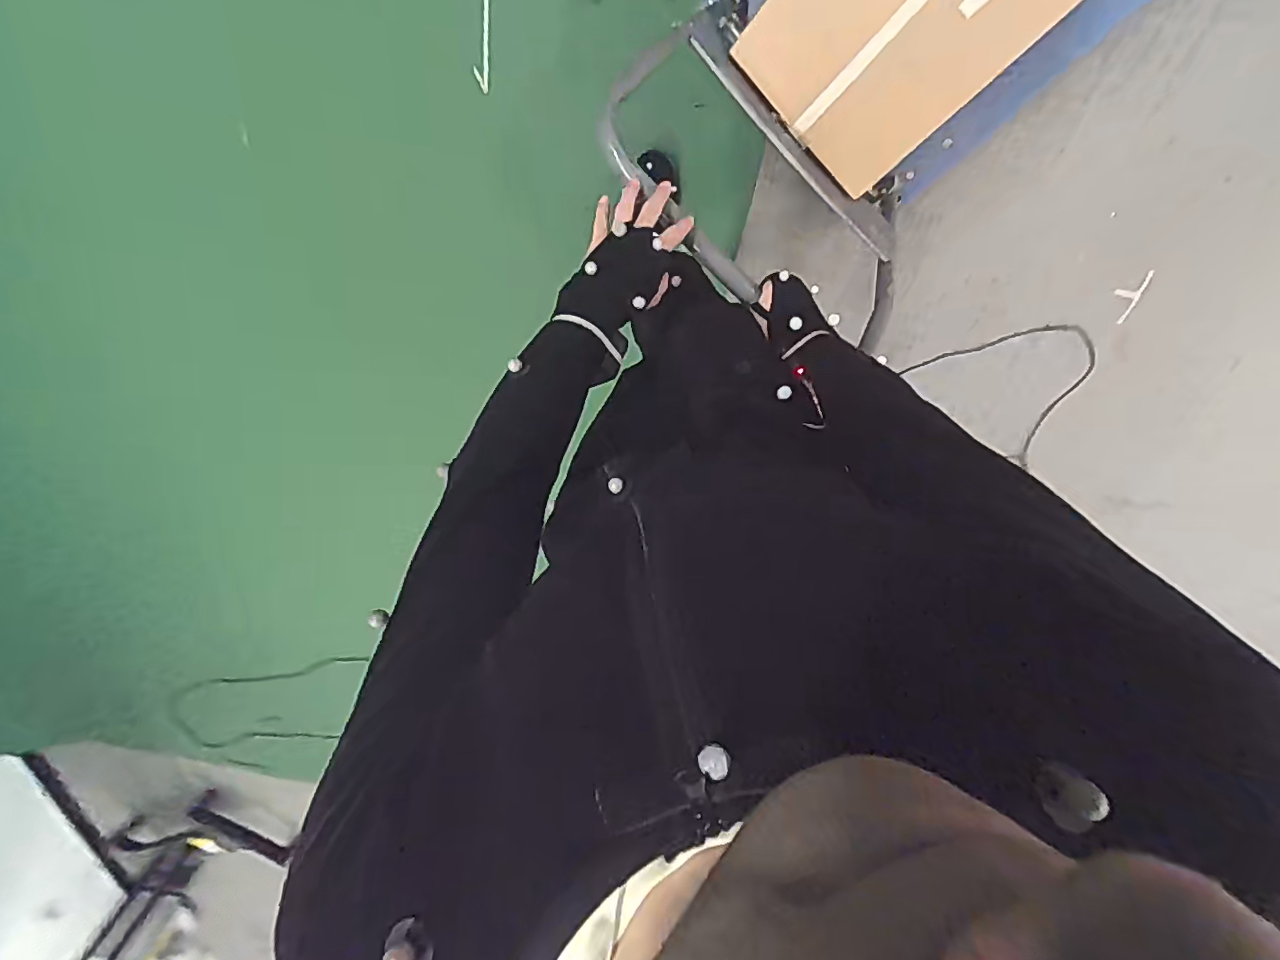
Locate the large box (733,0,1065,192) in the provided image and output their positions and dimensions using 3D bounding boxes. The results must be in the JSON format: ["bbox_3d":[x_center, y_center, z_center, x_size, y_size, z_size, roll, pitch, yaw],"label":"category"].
[{"bbox_3d":[0.413,-0.765,0.858,0.320,0.320,0.408,39,134,-17],"label":"large box"}]
